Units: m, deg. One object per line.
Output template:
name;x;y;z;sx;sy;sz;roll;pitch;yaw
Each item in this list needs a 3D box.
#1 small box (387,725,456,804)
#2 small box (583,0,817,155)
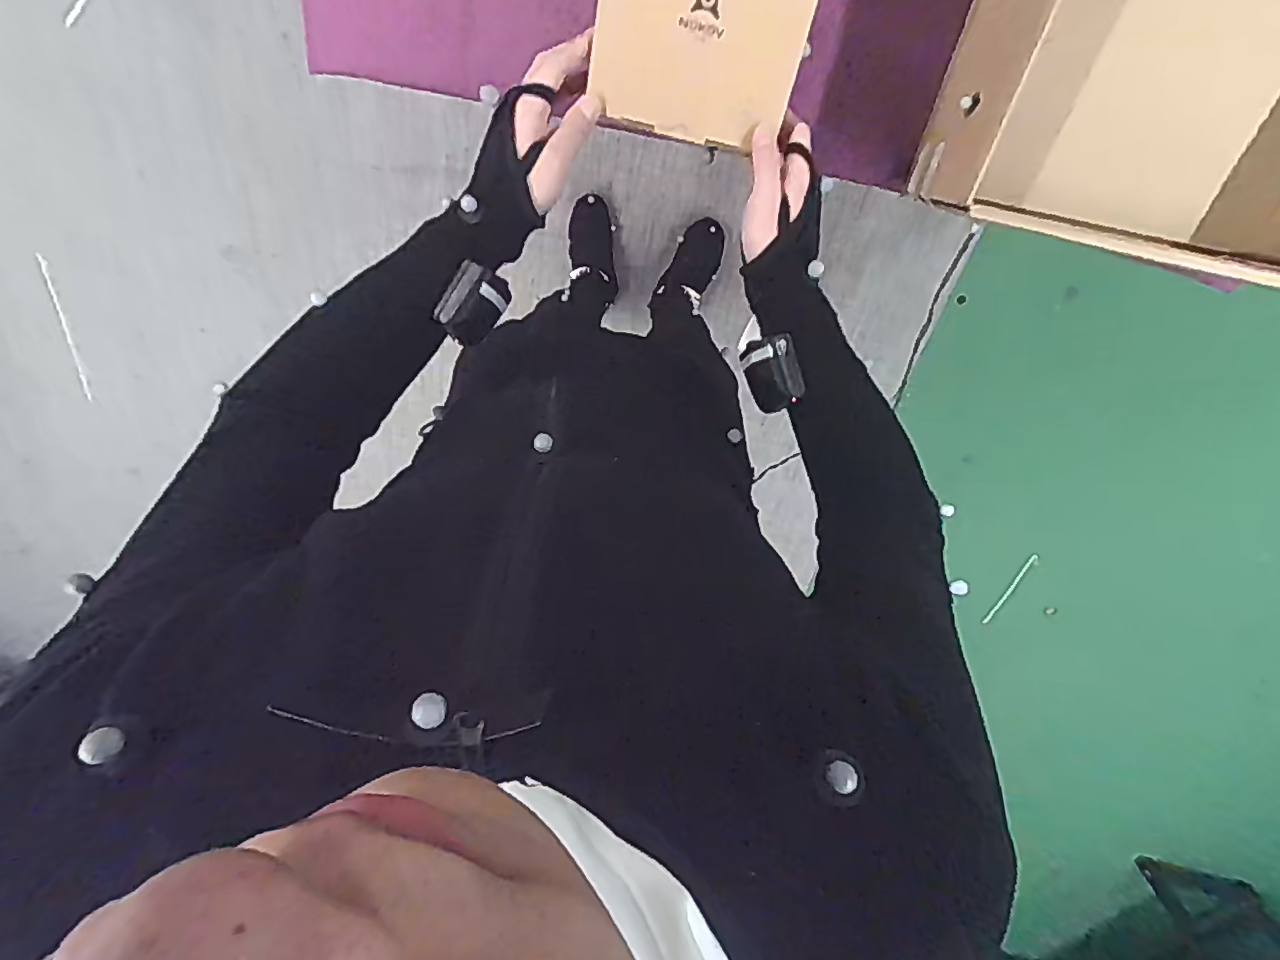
small box;-0.786;1.025;1.958;0.168;0.176;0.179;22;117;-6
small box;0.052;-0.408;0.477;0.168;0.176;0.179;11;121;-7
